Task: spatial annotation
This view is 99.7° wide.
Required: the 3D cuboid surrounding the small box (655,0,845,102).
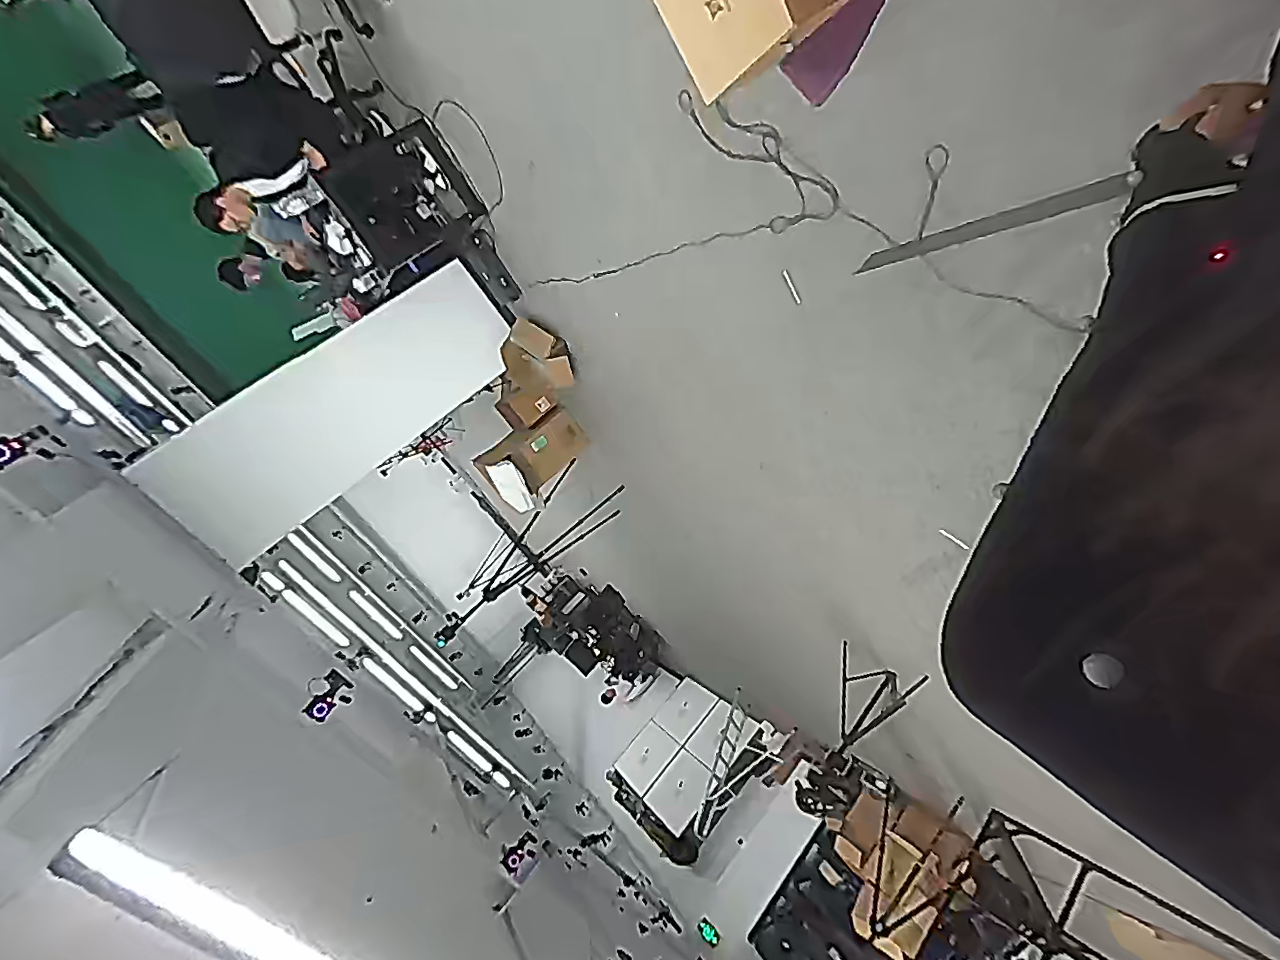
[{"bbox_3d":[0.151,-0.654,0.711,0.168,0.176,0.179,54,157,-20],"label":"small box"}]
